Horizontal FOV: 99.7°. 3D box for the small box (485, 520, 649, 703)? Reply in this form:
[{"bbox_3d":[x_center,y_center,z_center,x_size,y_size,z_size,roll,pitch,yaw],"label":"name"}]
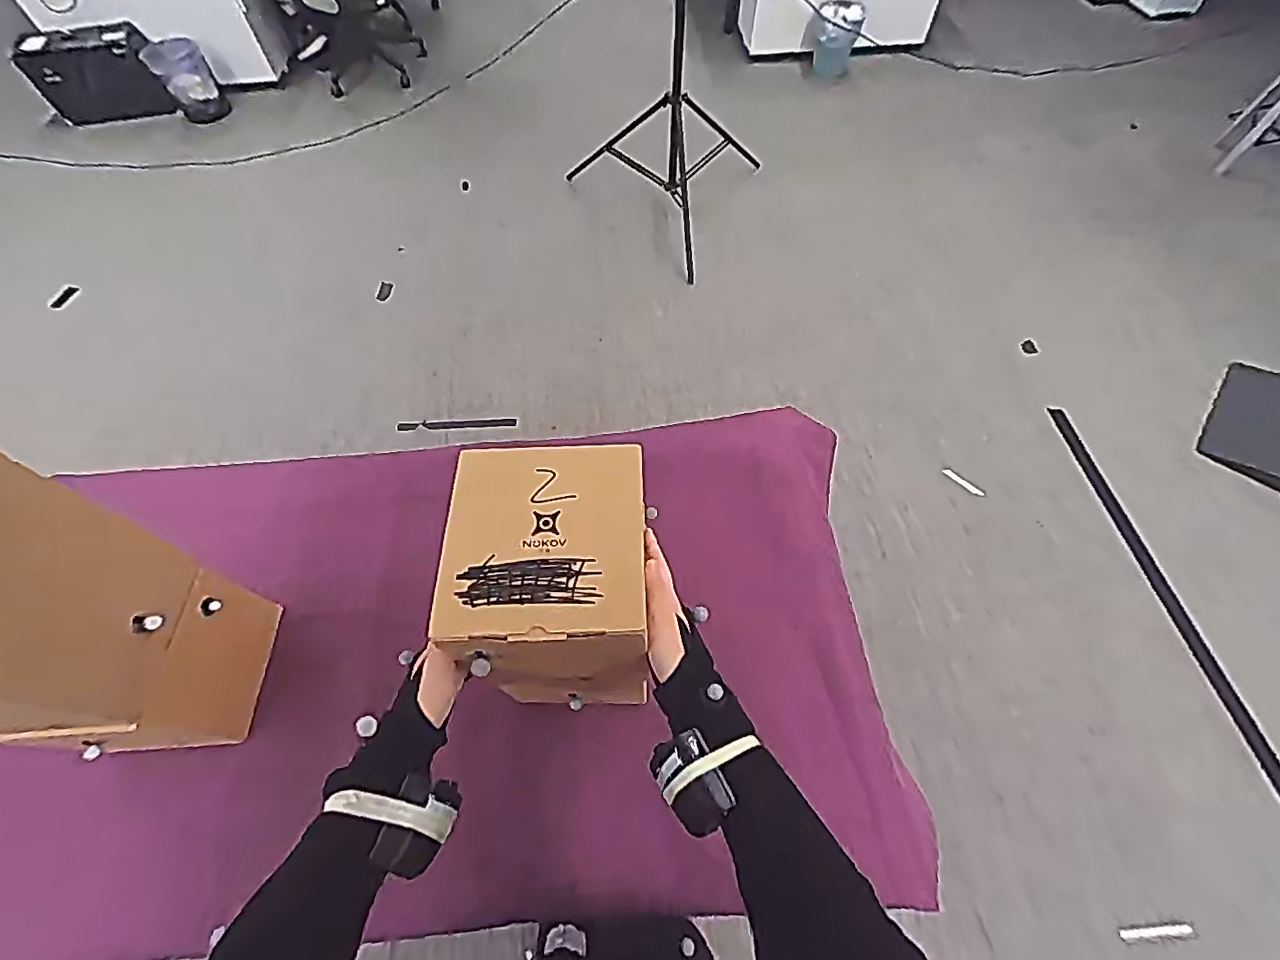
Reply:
[{"bbox_3d":[-0.075,0.164,0.661,0.168,0.176,0.179,0,59,2],"label":"small box"}]

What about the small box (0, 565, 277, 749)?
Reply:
[{"bbox_3d":[-0.575,0.216,0.641,0.168,0.176,0.179,-4,59,-1],"label":"small box"}]

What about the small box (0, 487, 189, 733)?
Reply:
[{"bbox_3d":[-0.578,0.126,0.503,0.168,0.176,0.179,-4,58,-1],"label":"small box"}]
